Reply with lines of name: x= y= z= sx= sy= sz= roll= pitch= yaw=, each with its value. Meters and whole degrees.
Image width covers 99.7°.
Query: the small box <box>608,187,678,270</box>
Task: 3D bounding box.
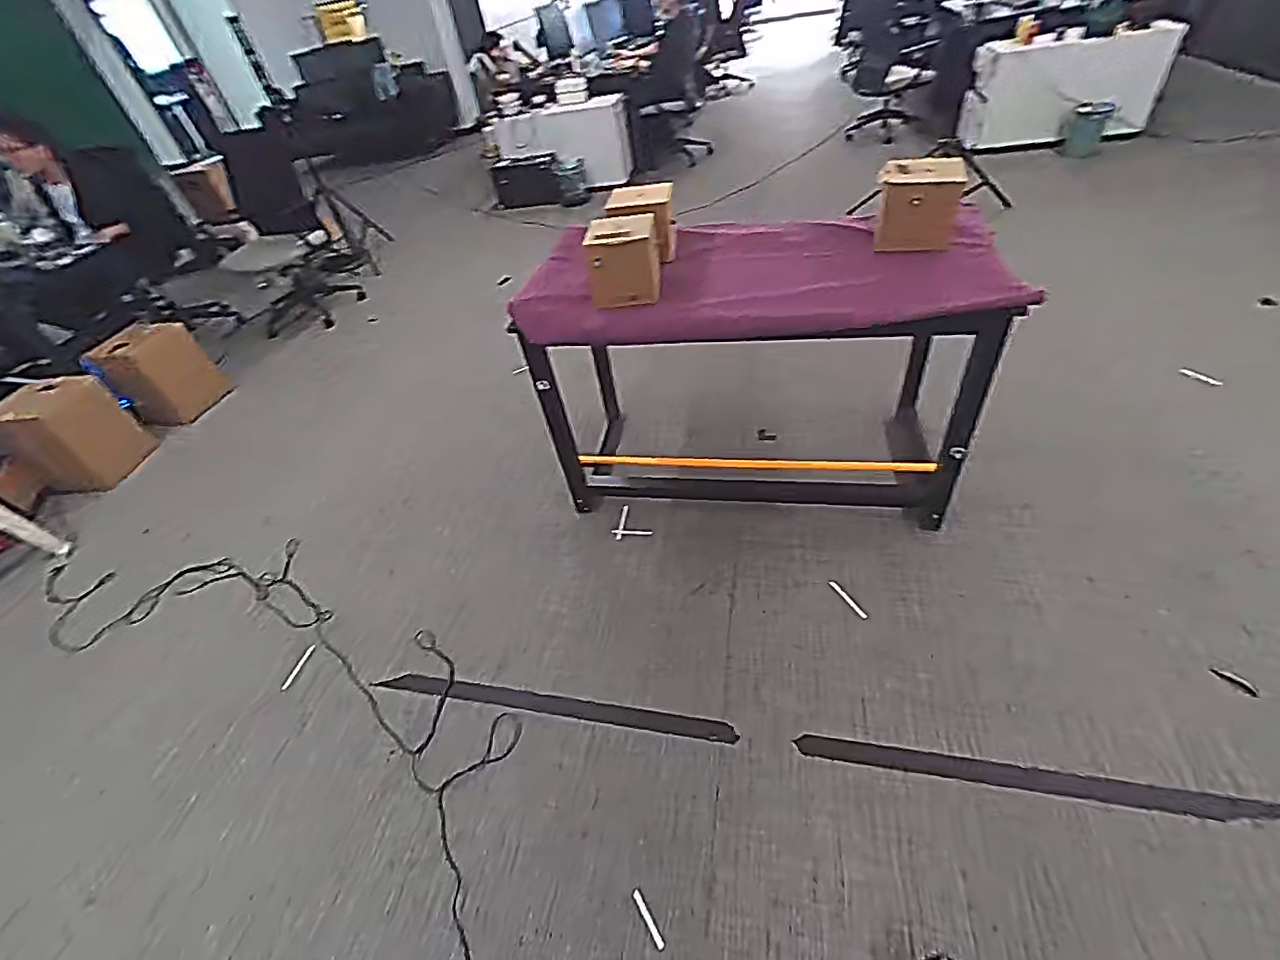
small box: x=0.016 y=-0.735 z=1.587 sx=0.179 sy=0.176 sz=0.168 roll=-1 pitch=44 yaw=11

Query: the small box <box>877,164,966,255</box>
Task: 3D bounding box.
small box: x=0.719 y=-0.697 z=1.401 sx=0.179 sy=0.176 sz=0.168 roll=7 pitch=48 yaw=17
